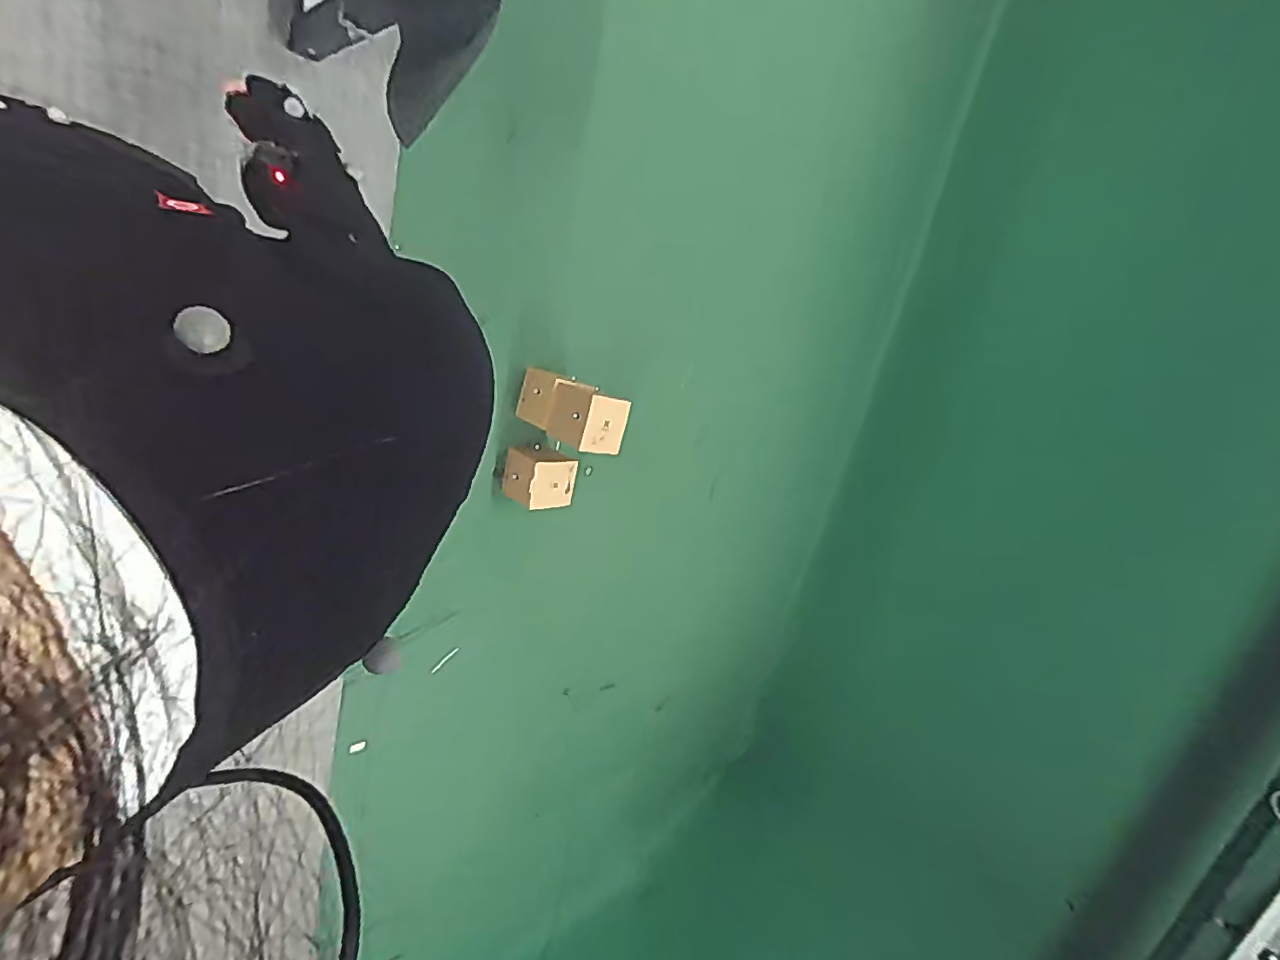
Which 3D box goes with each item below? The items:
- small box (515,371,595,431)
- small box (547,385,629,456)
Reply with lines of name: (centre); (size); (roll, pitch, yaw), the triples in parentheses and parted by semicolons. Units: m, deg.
small box: (-0.284, -0.252, 1.770); (0.179, 0.176, 0.168); (4, 107, -49)
small box: (-0.165, -0.187, 1.675); (0.168, 0.176, 0.179); (3, 108, -48)
